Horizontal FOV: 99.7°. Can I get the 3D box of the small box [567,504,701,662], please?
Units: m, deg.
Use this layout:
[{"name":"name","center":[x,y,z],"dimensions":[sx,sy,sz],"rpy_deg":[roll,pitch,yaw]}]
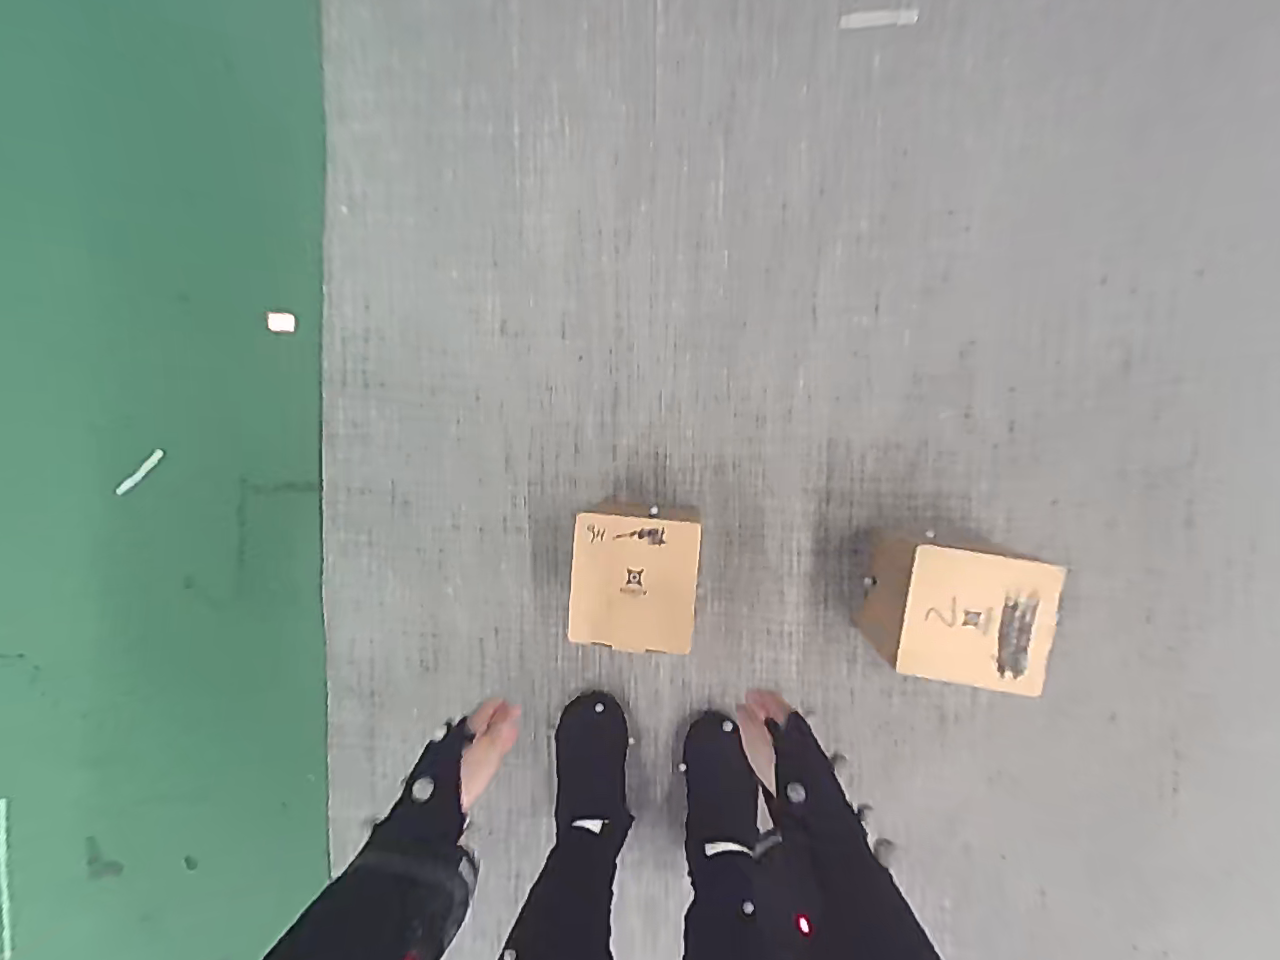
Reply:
[{"name":"small box","center":[-0.001,0.138,0.784],"dimensions":[0.168,0.176,0.179],"rpy_deg":[5,94,6]}]
